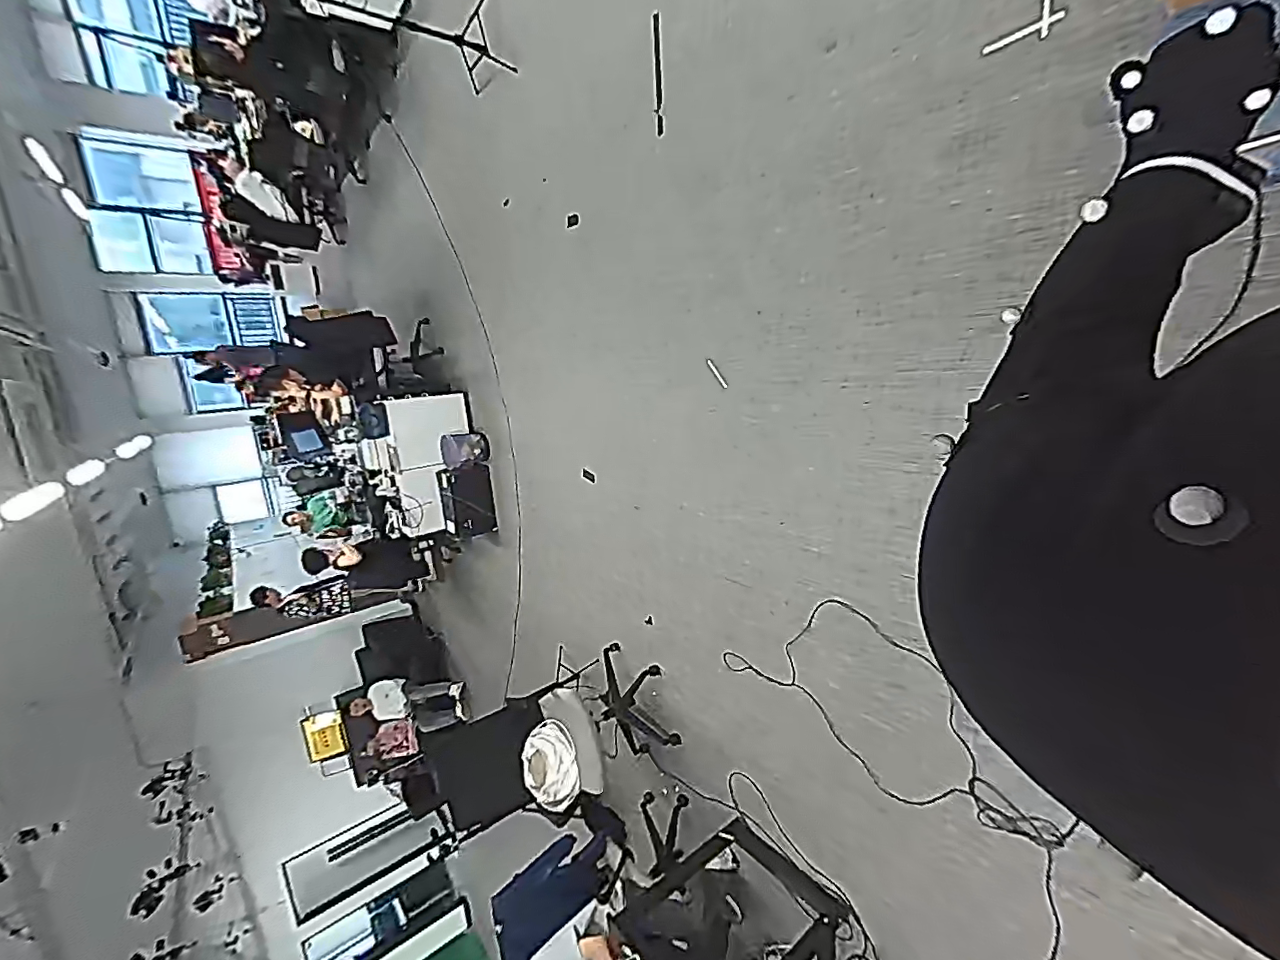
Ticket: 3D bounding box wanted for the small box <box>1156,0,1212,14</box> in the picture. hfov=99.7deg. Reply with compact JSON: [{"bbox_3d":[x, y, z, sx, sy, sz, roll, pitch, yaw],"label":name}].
[{"bbox_3d":[0.848,-0.808,0.758,0.179,0.176,0.168,14,112,49],"label":"small box"}]
